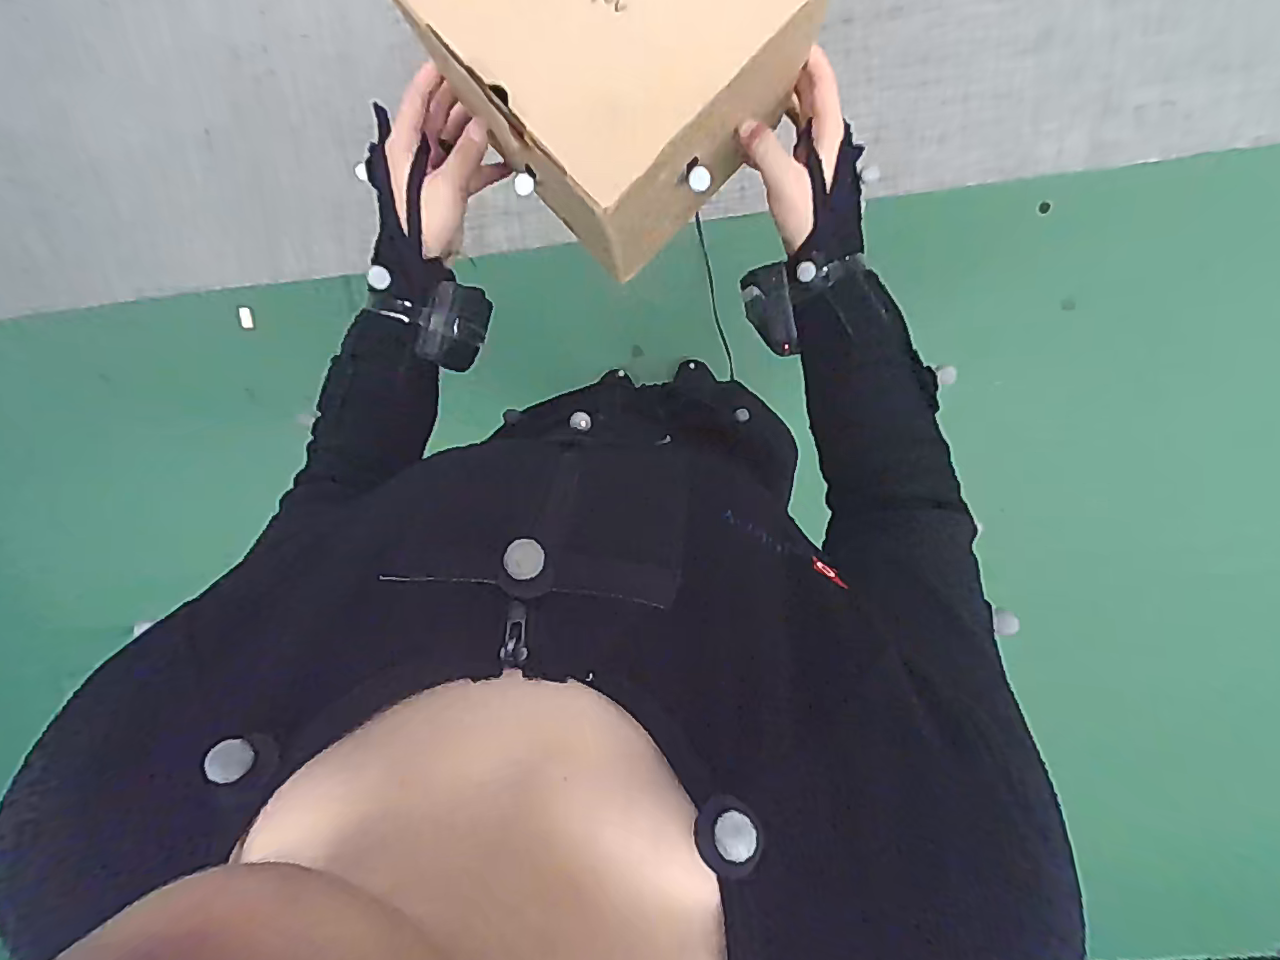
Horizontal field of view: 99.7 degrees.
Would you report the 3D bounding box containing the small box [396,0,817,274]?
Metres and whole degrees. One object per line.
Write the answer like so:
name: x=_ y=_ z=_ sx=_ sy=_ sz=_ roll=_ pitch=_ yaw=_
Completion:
small box: x=-0.012 y=-0.270 z=0.362 sx=0.179 sy=0.176 sz=0.168 roll=-44 pitch=94 yaw=7
